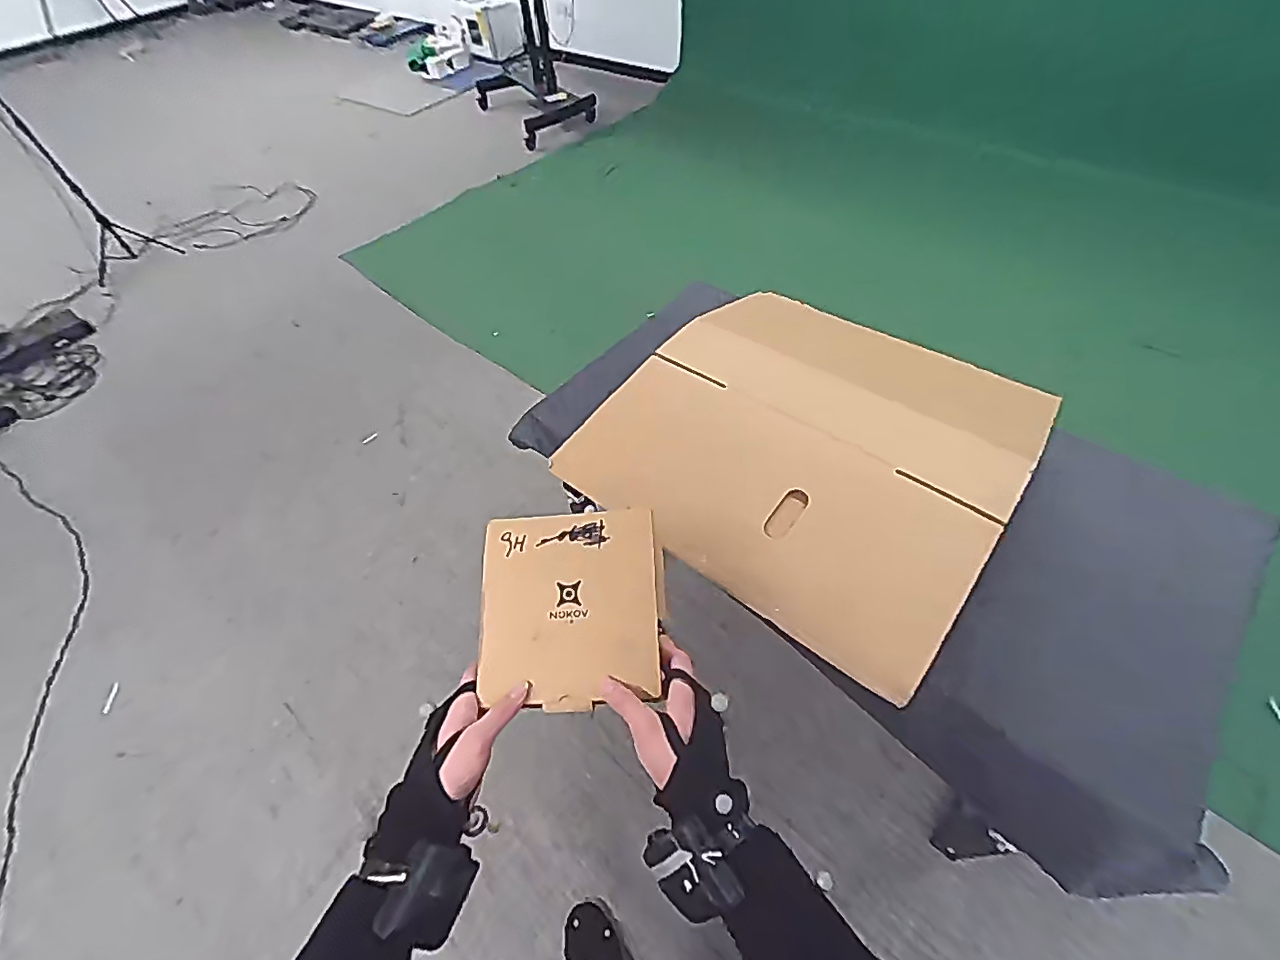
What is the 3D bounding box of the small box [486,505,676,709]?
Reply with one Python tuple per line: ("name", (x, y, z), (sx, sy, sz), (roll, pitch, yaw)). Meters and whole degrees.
("small box", (-0.054, 0.143, 0.581), (0.168, 0.176, 0.179), (-7, 67, 4))
